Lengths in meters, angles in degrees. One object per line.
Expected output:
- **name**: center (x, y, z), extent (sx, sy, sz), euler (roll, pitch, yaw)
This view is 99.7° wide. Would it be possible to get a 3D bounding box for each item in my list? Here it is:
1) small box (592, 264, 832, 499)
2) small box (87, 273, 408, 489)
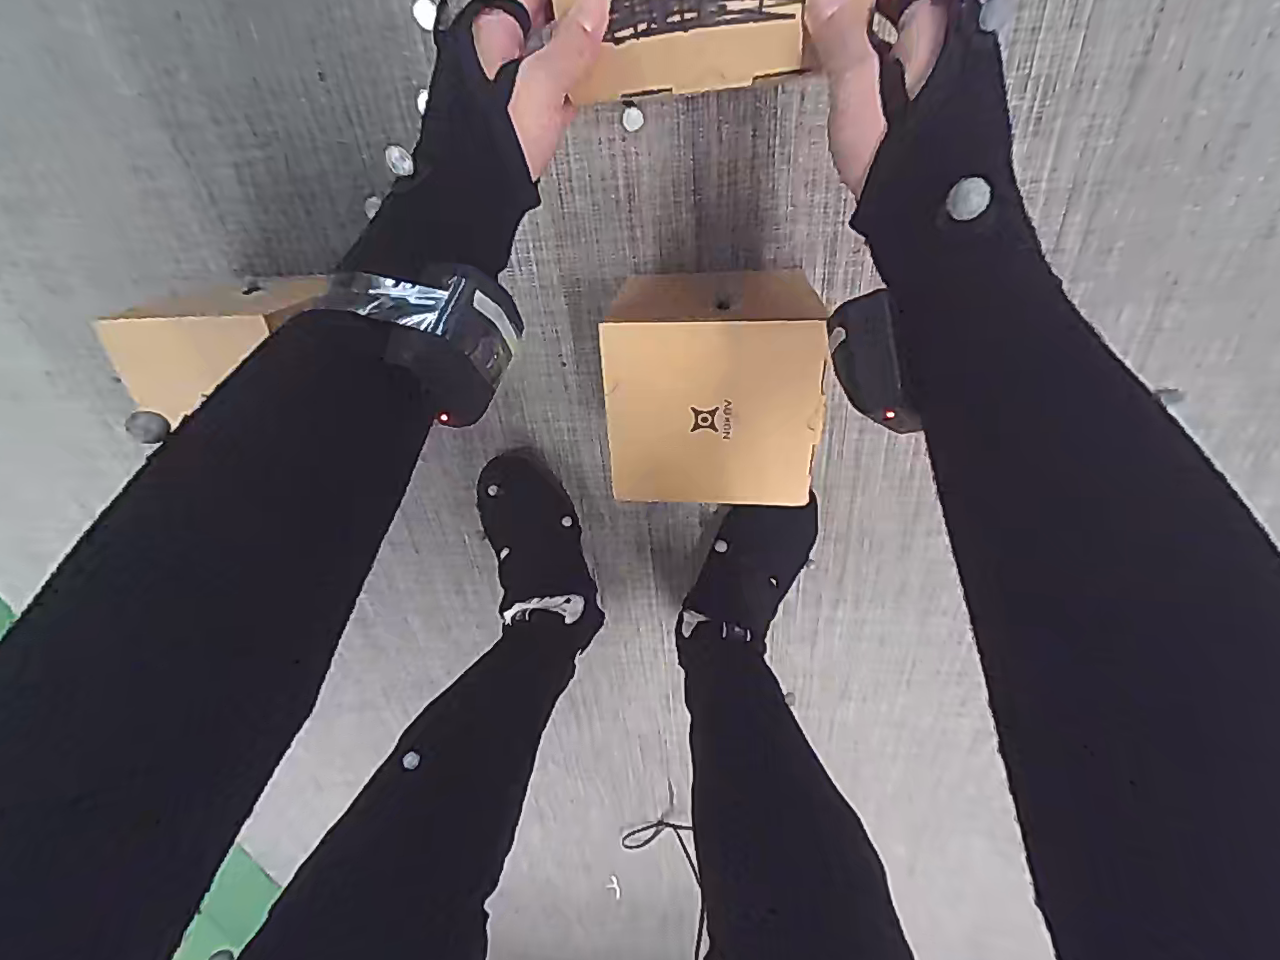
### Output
- **small box**: center (0.062, -0.098, 0.499), extent (0.179, 0.176, 0.168), euler (1, 122, 7)
- **small box**: center (-0.369, -0.108, 0.551), extent (0.168, 0.176, 0.179), euler (1, 122, 8)
